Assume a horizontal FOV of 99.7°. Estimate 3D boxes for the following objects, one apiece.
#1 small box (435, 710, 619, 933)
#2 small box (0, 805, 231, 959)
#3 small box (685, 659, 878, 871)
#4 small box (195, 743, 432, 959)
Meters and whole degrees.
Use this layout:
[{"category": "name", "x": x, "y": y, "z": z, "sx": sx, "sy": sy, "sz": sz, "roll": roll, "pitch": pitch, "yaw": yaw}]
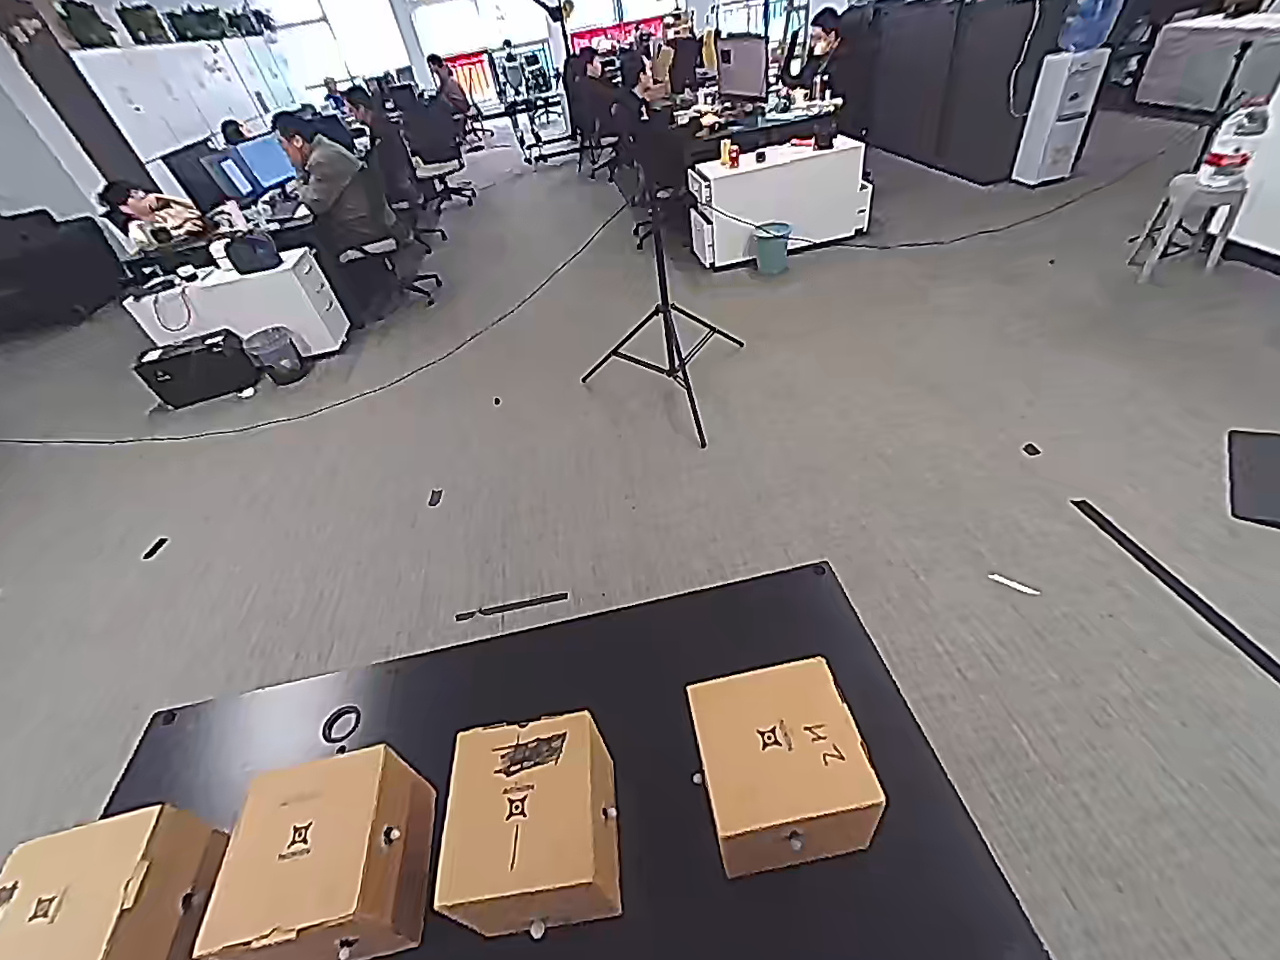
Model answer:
[{"category": "small box", "x": -0.122, "y": 0.410, "z": 0.652, "sx": 0.168, "sy": 0.176, "sz": 0.179, "roll": -10, "pitch": 42, "yaw": 1}, {"category": "small box", "x": -0.622, "y": 0.518, "z": 0.637, "sx": 0.179, "sy": 0.176, "sz": 0.168, "roll": -13, "pitch": 41, "yaw": -4}, {"category": "small box", "x": 0.162, "y": 0.349, "z": 0.659, "sx": 0.179, "sy": 0.176, "sz": 0.168, "roll": -11, "pitch": 42, "yaw": 0}, {"category": "small box", "x": -0.368, "y": 0.457, "z": 0.654, "sx": 0.168, "sy": 0.176, "sz": 0.179, "roll": -12, "pitch": 41, "yaw": -3}]
